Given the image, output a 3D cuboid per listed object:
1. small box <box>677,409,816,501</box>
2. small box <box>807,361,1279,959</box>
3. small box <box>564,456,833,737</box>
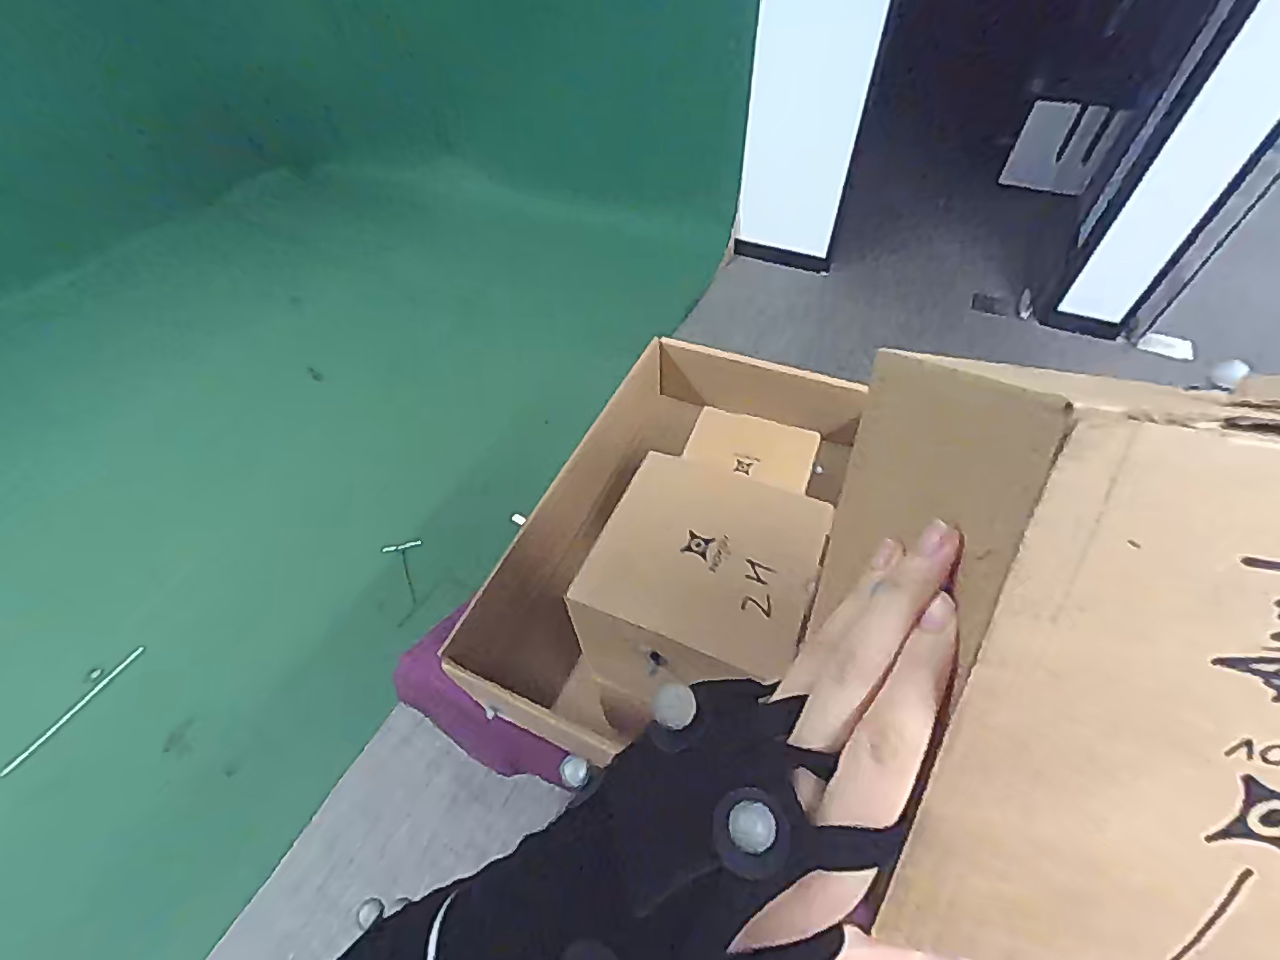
[{"bbox_3d":[0.138,0.031,0.768,0.168,0.176,0.179,16,55,16],"label":"small box"},{"bbox_3d":[0.172,0.054,0.215,0.168,0.179,0.176,10,20,8],"label":"small box"},{"bbox_3d":[0.055,0.110,0.499,0.179,0.176,0.168,19,55,17],"label":"small box"}]
